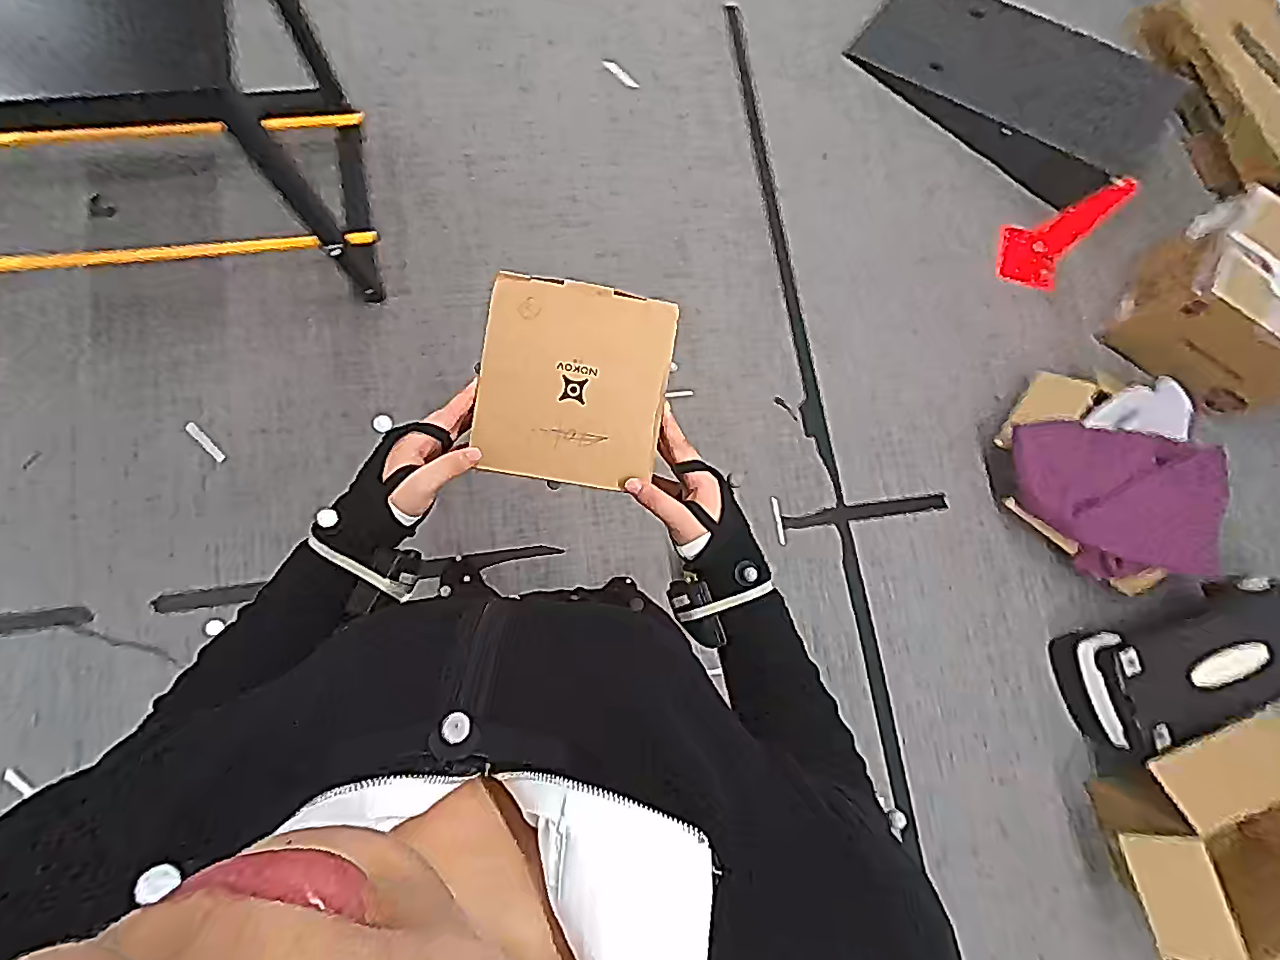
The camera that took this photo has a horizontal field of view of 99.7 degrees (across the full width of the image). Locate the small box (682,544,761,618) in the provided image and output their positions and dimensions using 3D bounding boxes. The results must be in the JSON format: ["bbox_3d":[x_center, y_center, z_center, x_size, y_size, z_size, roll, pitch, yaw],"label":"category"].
[{"bbox_3d":[0.212,0.268,1.459,0.168,0.176,0.179,-5,83,-6],"label":"small box"}]

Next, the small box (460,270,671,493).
[{"bbox_3d":[-0.072,-0.089,0.557,0.168,0.176,0.179,8,93,-5],"label":"small box"}]
